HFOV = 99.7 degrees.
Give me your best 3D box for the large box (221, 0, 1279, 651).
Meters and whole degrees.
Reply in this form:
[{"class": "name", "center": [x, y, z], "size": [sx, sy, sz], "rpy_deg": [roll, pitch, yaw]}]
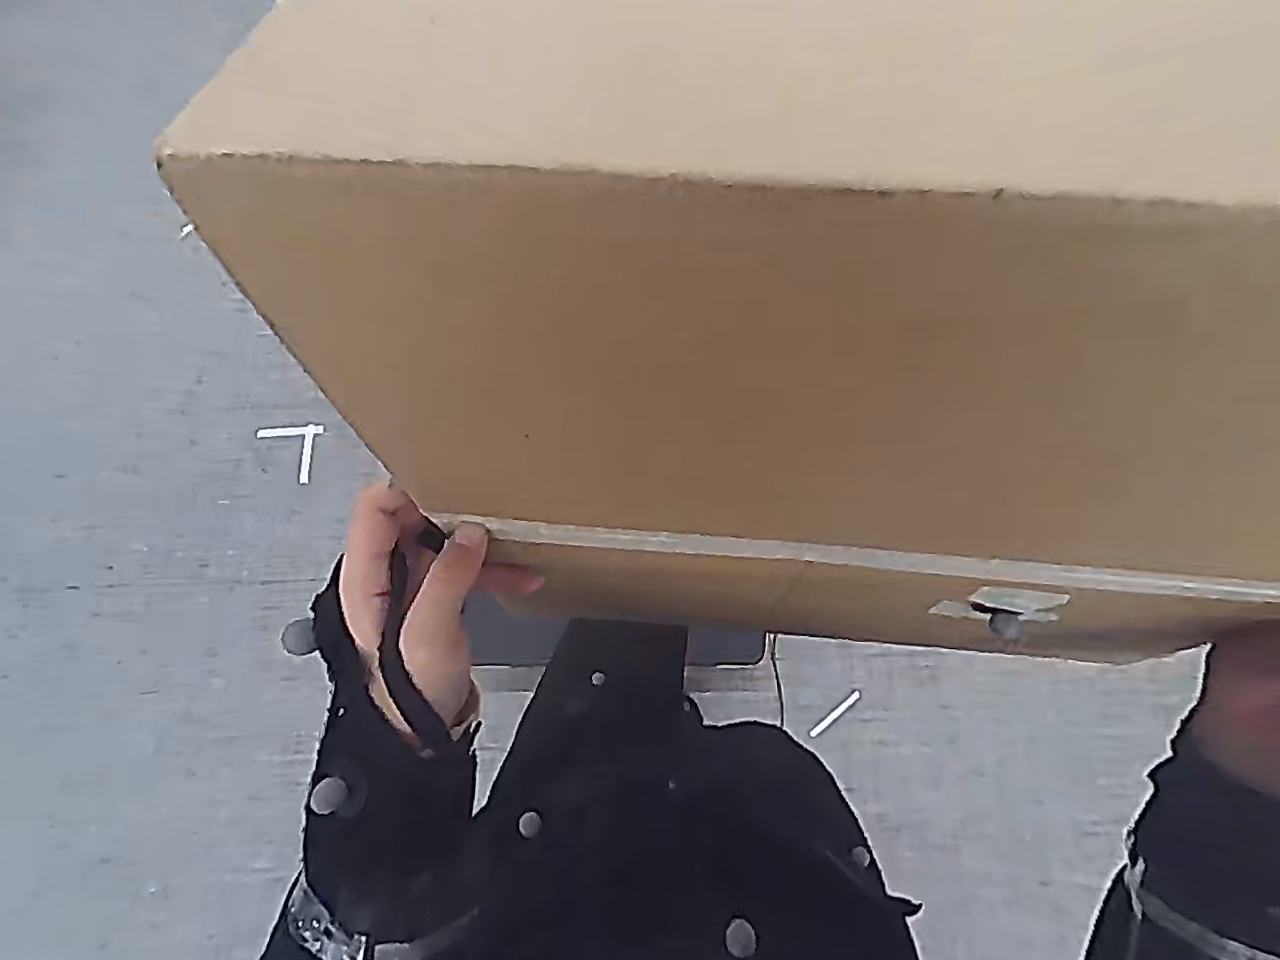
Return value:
[{"class": "large box", "center": [0.115, -0.102, 0.307], "size": [0.408, 0.320, 0.320], "rpy_deg": [3, 63, 2]}]
